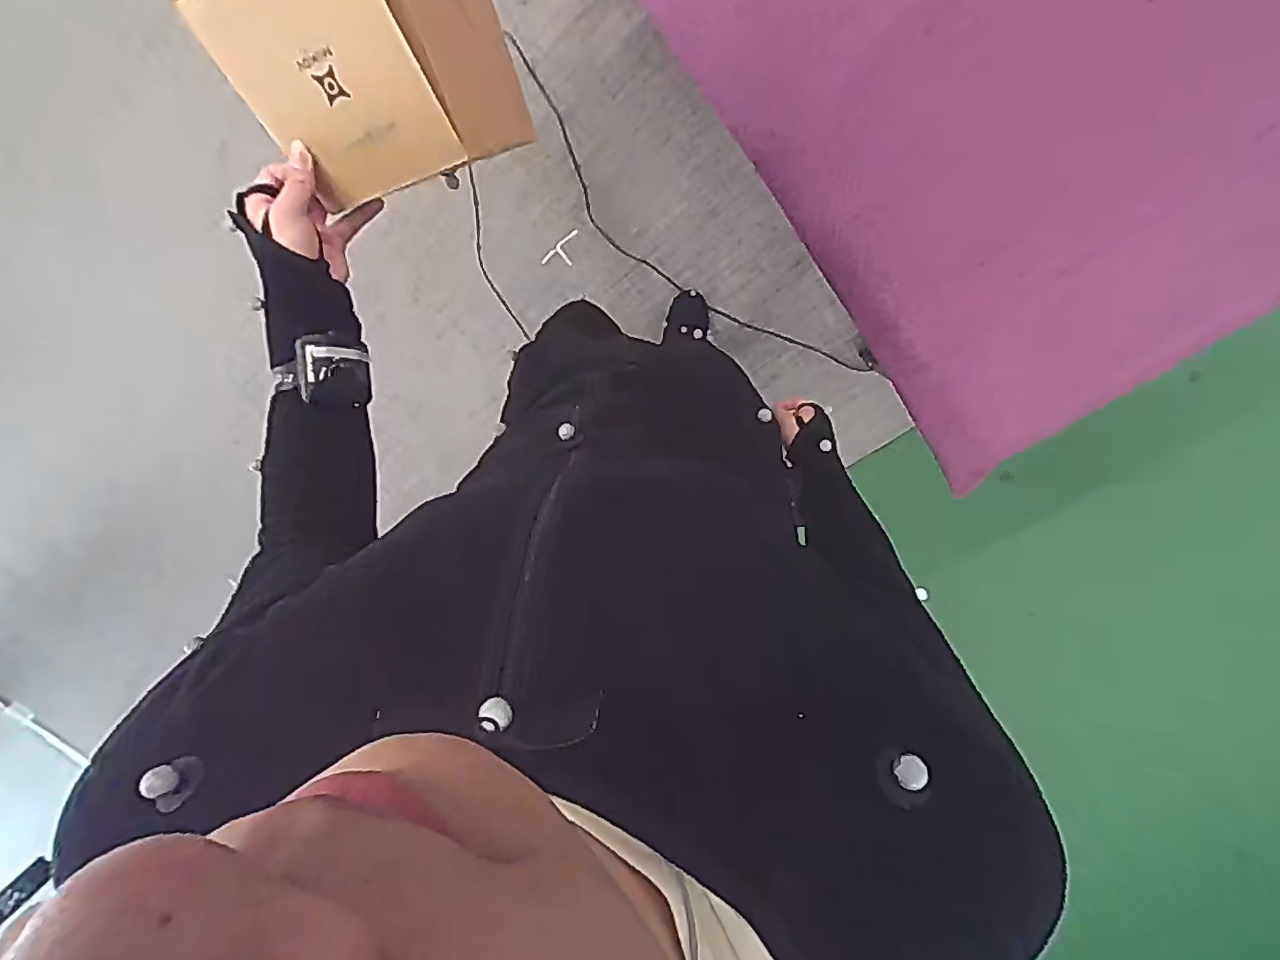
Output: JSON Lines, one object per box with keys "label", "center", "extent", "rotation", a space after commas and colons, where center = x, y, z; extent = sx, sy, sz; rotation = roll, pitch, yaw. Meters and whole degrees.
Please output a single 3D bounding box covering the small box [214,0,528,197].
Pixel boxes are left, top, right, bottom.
{"label": "small box", "center": [-0.230, -0.389, 0.501], "extent": [0.168, 0.176, 0.179], "rotation": [-5, 126, 20]}
